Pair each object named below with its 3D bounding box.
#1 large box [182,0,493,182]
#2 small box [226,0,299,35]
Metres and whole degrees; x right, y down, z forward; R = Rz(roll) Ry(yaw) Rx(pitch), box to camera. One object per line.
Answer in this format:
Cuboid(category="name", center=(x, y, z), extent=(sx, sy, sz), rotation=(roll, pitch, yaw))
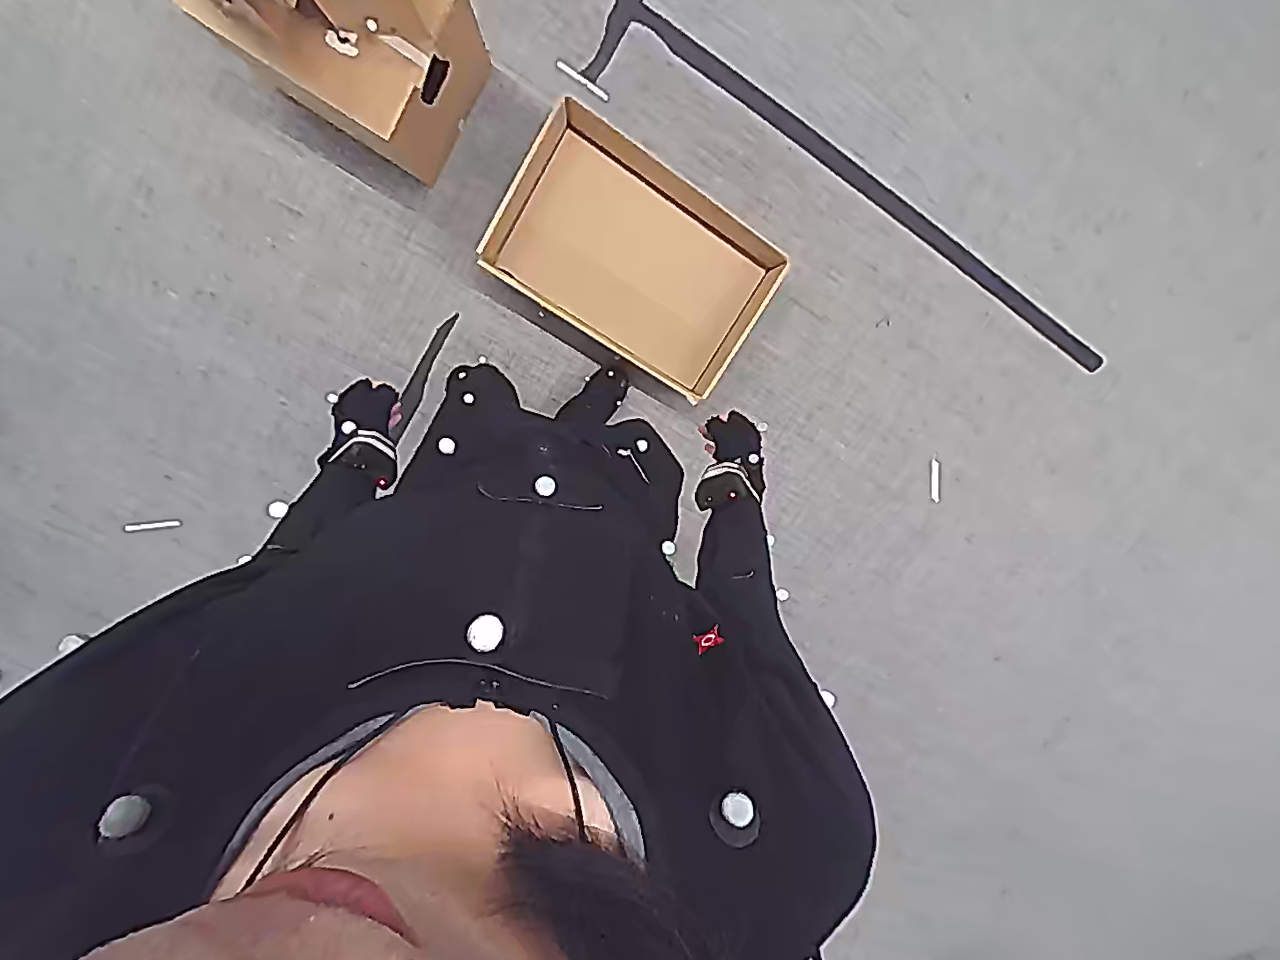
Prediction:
Cuboid(category="large box", center=(-0.569, -0.896, 1.097), extent=(0.408, 0.320, 0.320), rotation=(29, 101, -12))
Cuboid(category="small box", center=(-0.642, -0.865, 0.848), extent=(0.168, 0.176, 0.179), rotation=(28, 99, -13))
